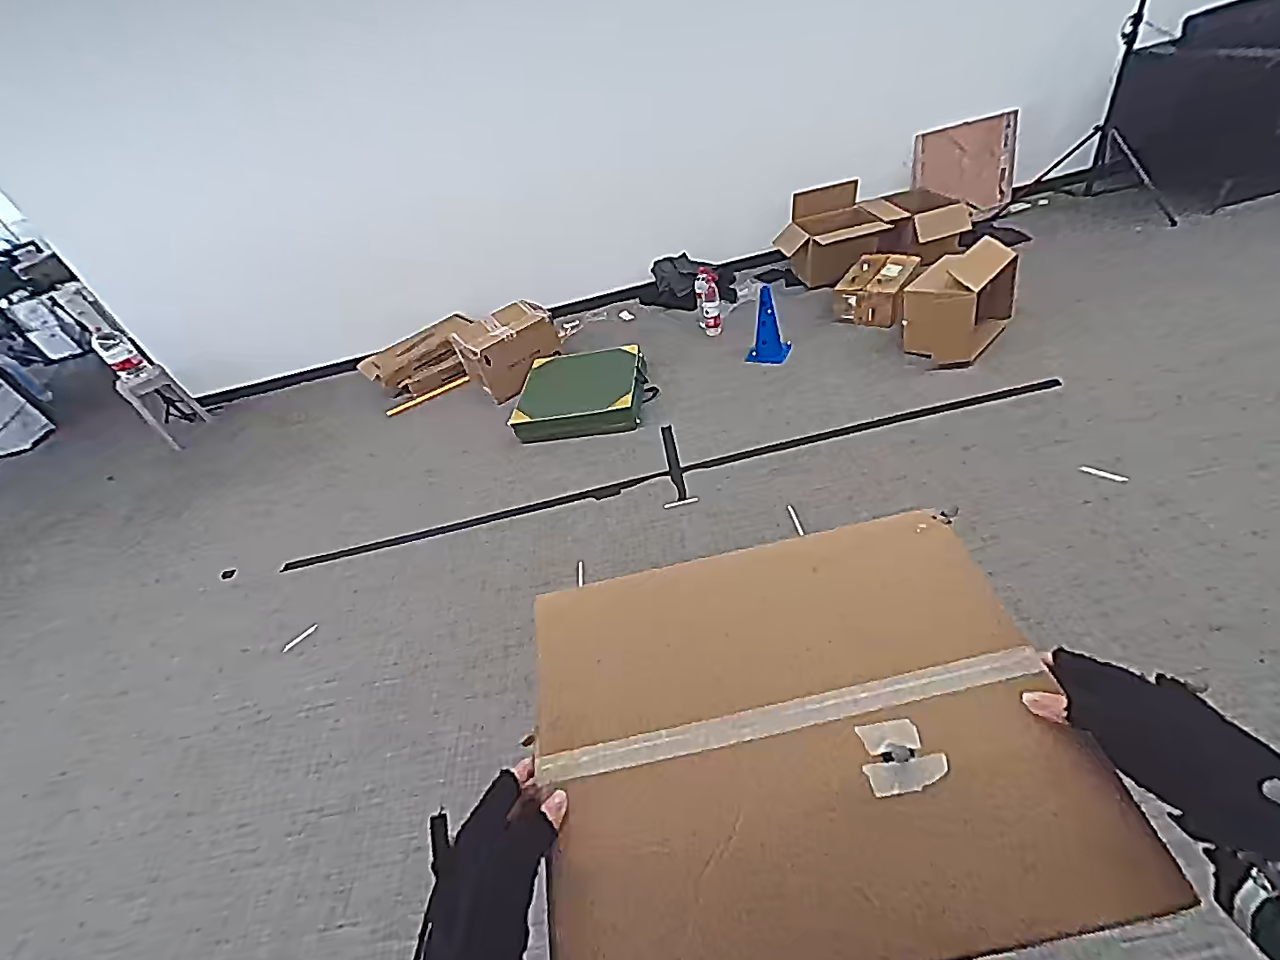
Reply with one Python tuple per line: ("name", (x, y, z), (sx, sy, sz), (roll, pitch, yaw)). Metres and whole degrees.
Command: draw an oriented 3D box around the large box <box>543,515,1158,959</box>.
("large box", (0.142, 0.287, 0.559), (0.408, 0.320, 0.320), (-13, 51, 0))
